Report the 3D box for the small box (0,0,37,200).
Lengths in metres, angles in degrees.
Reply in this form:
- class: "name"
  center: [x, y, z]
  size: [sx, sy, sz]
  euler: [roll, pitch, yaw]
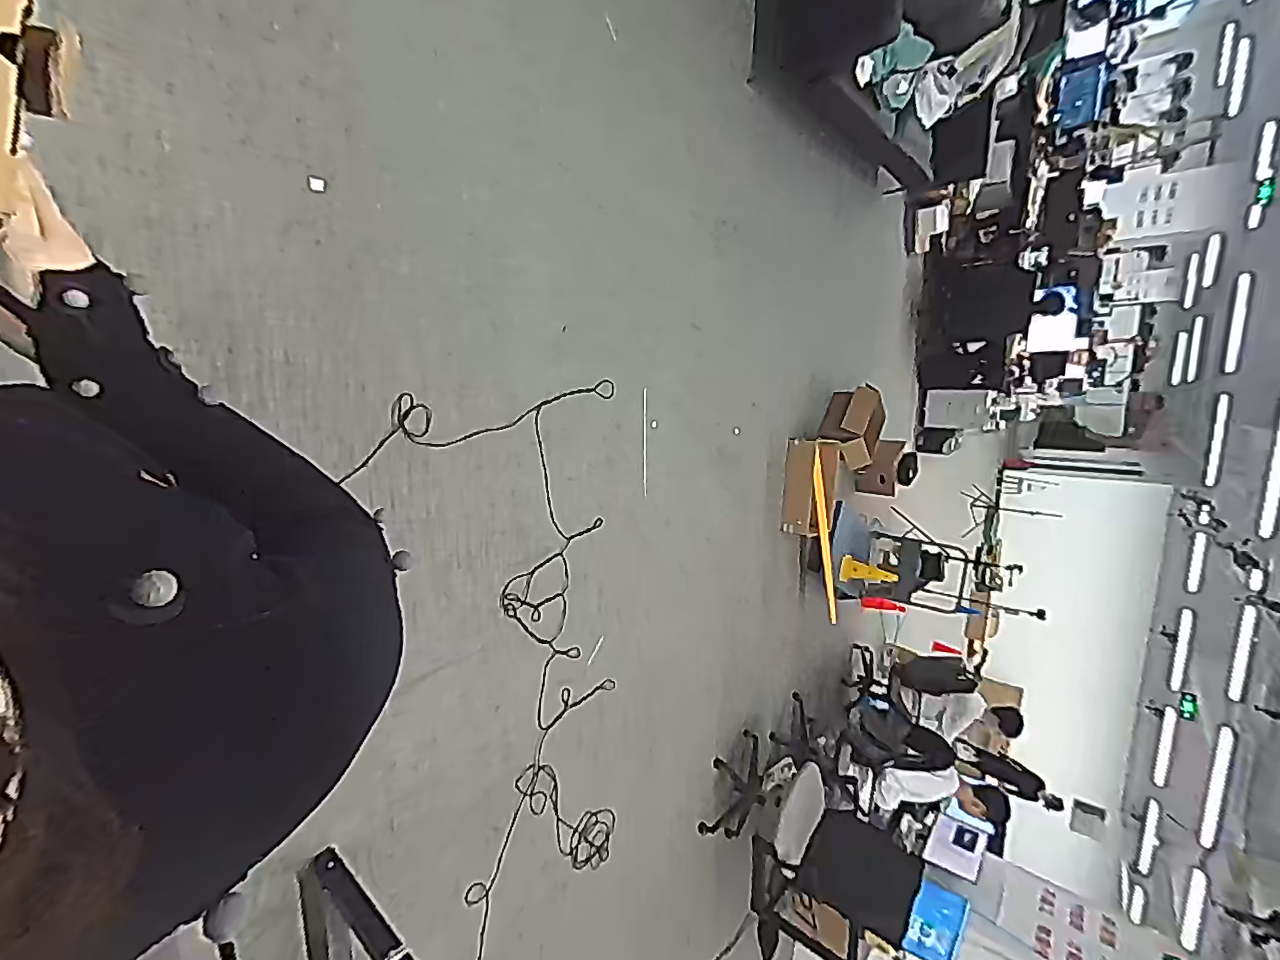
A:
- class: "small box"
  center: [-0.421, -0.235, 0.249]
  size: [0.179, 0.176, 0.168]
  euler: [5, 95, -55]
